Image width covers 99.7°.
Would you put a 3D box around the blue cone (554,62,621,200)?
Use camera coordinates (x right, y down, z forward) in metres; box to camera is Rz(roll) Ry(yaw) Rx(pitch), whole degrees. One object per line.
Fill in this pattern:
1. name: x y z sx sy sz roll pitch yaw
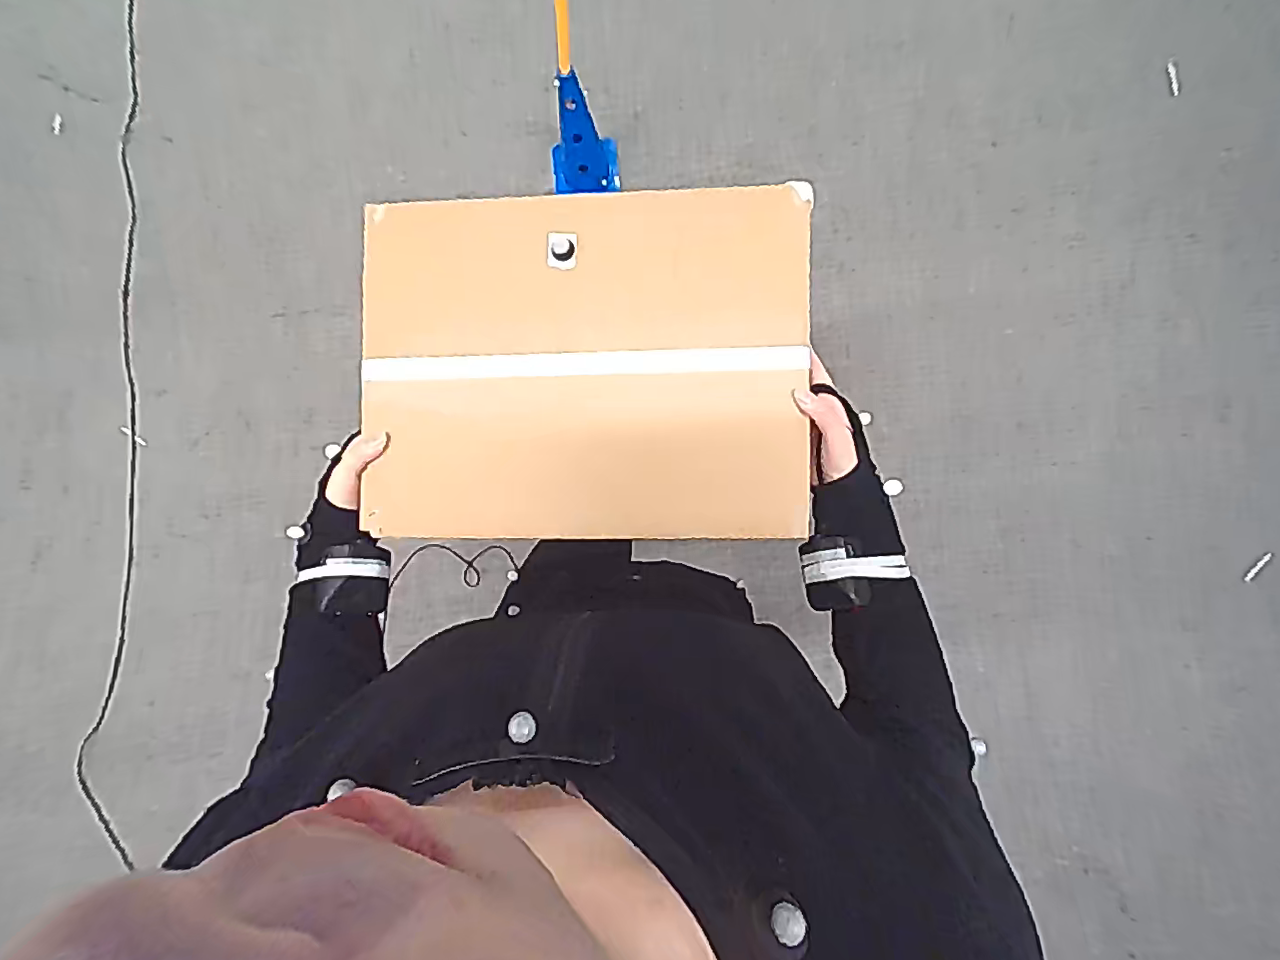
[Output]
1. blue cone: -0.162 -0.954 1.452 0.193 0.380 0.192 -7 83 0
